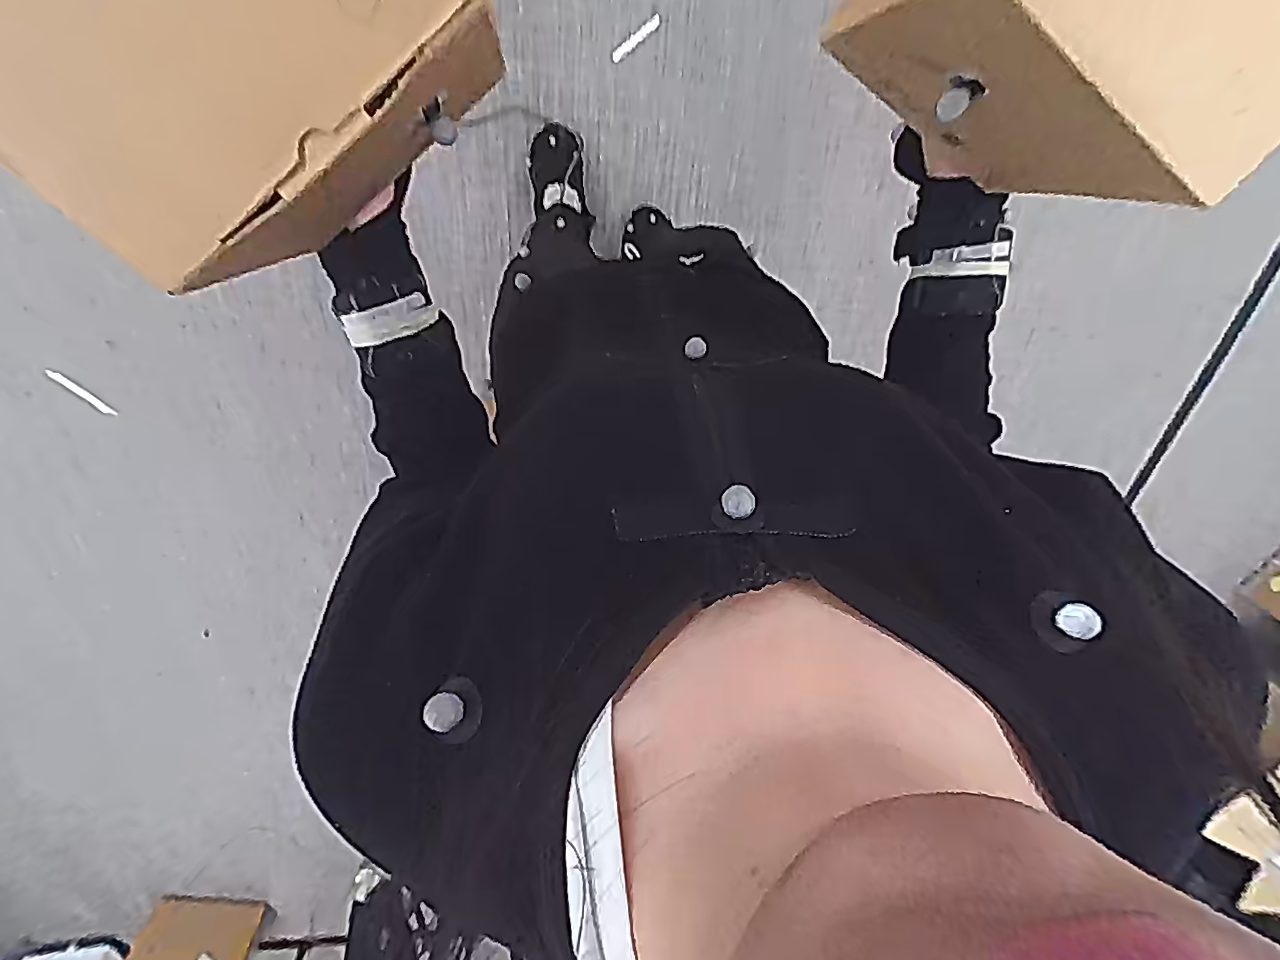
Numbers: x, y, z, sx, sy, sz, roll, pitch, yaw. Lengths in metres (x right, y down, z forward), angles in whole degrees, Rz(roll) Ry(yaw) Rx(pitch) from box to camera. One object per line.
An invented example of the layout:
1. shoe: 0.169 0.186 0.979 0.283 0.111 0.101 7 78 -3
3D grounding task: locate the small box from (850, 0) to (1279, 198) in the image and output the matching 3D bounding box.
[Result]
1. small box: 0.231 -0.267 0.261 0.168 0.176 0.179 25 114 -19

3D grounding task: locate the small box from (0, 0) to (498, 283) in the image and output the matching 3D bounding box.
1. small box: -0.176 -0.215 0.222 0.168 0.176 0.179 -37 119 9
